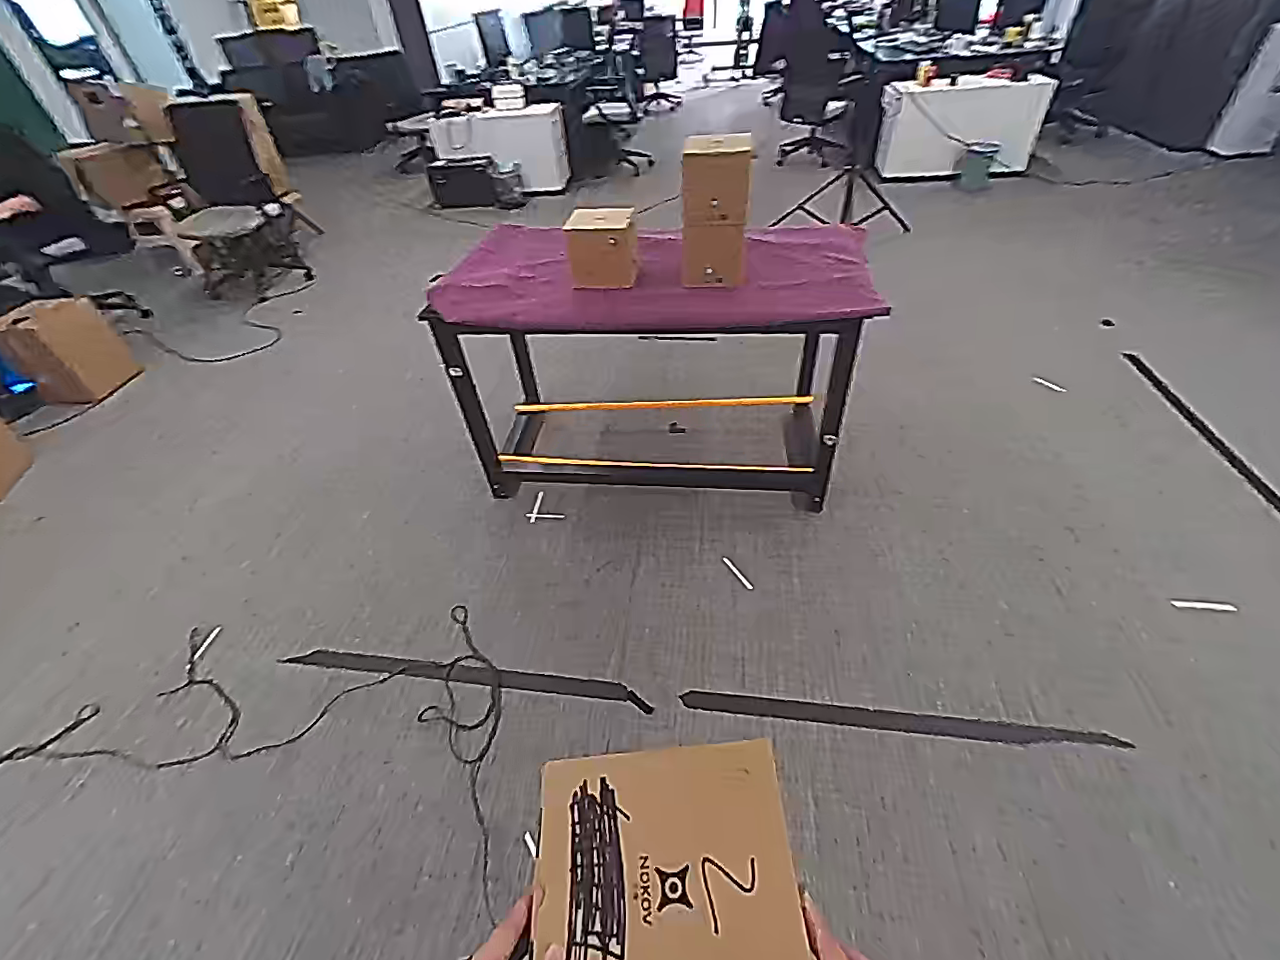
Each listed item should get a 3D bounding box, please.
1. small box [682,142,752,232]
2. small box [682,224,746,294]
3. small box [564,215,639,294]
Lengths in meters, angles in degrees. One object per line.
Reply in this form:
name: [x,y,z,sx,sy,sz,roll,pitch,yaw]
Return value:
small box: [0.201,-0.758,1.399,0.168,0.176,0.179,3,44,10]
small box: [0.208,-0.638,1.512,0.168,0.176,0.179,3,44,10]
small box: [-0.103,-0.647,1.556,0.179,0.176,0.168,3,43,8]
